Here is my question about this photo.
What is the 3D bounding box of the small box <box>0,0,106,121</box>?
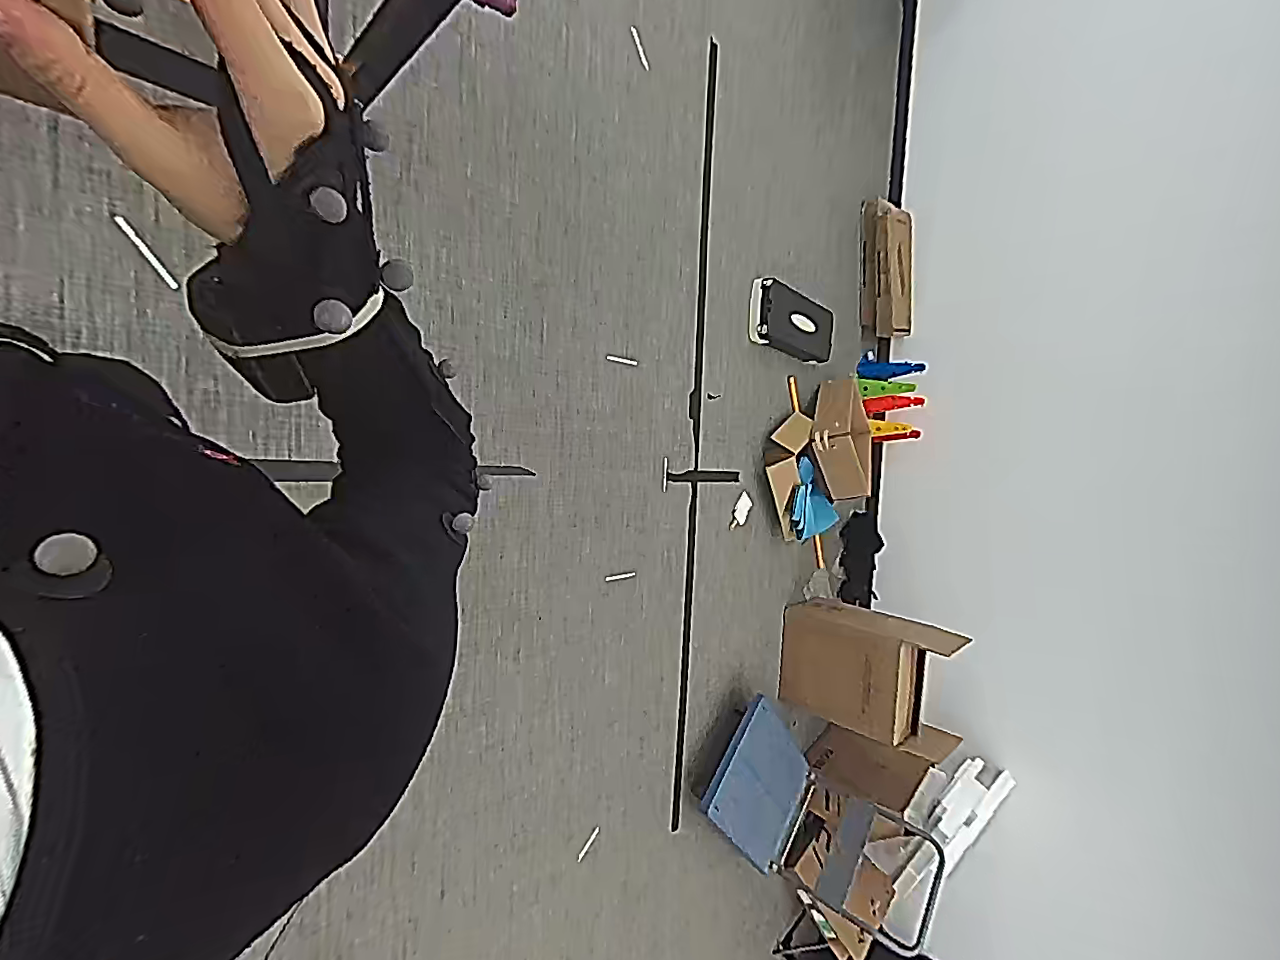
[{"bbox_3d":[-0.243,-0.229,0.126,0.168,0.176,0.179,-2,106,-47],"label":"small box"}]
